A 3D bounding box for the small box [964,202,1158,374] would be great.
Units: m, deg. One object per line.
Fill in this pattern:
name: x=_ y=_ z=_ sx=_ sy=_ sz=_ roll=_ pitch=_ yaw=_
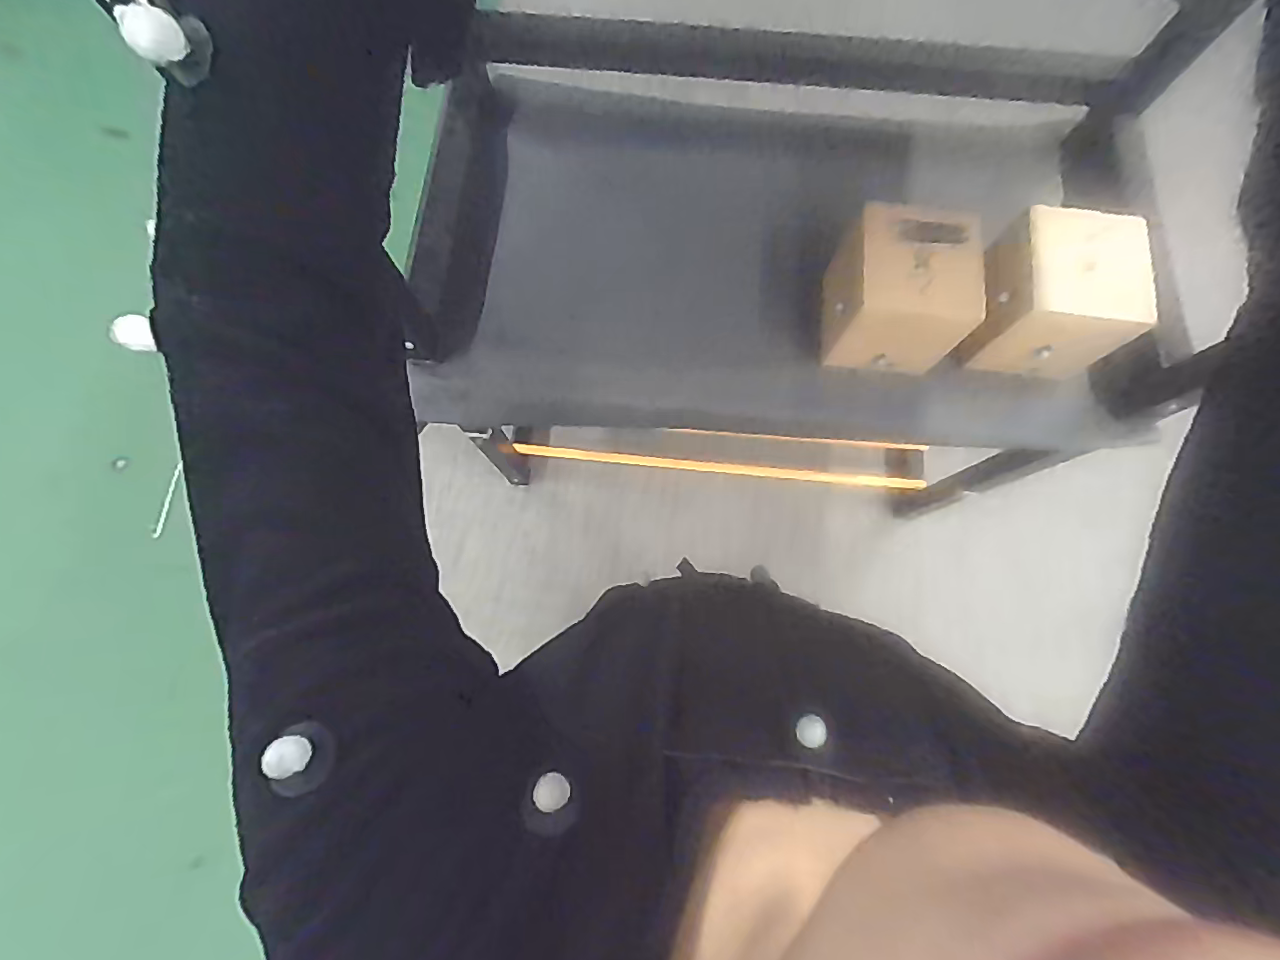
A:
small box: x=0.618 y=-0.280 z=0.819 sx=0.168 sy=0.176 sz=0.179 roll=8 pitch=74 yaw=2
